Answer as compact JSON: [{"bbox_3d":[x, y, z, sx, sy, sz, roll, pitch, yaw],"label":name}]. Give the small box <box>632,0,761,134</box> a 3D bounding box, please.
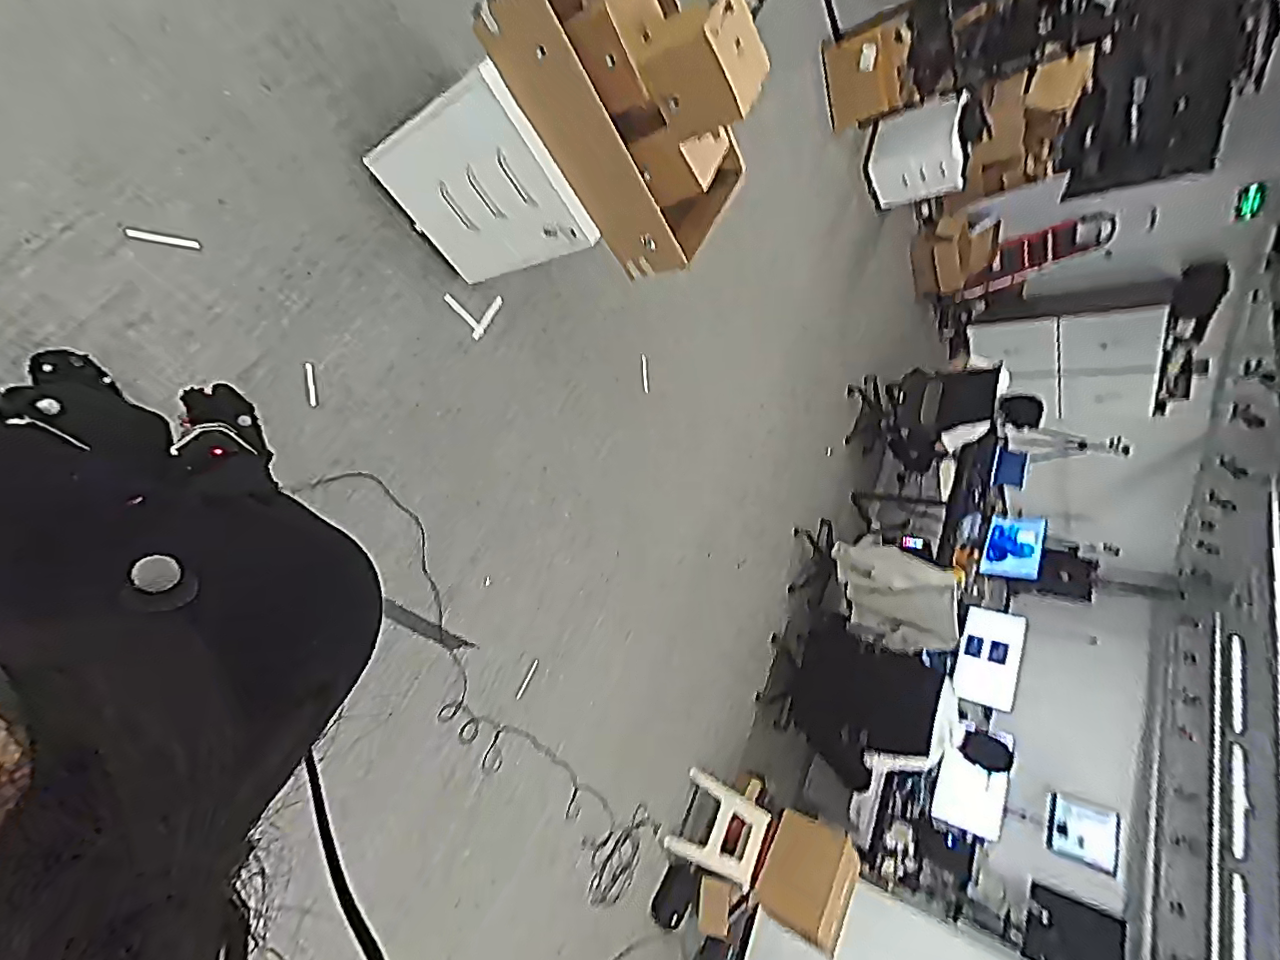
[{"bbox_3d":[0.116,-0.844,1.101,0.179,0.176,0.168,43,64,-43],"label":"small box"}]
